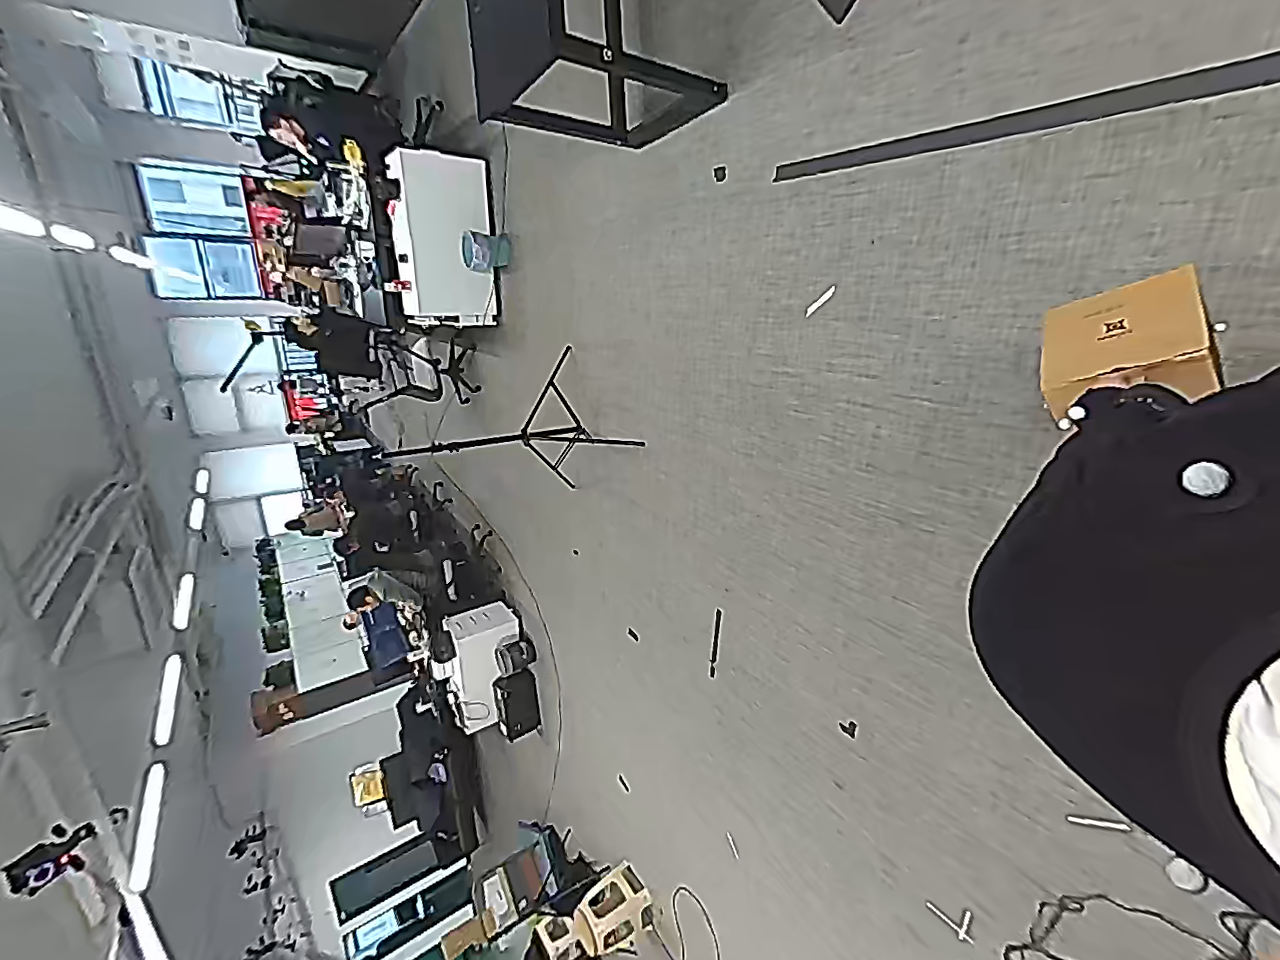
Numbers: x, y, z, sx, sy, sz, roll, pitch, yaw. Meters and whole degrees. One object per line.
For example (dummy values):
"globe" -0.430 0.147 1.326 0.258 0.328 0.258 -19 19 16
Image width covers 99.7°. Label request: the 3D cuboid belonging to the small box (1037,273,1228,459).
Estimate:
"small box" 0.686 -0.144 0.759 0.168 0.179 0.176 -12 131 49
